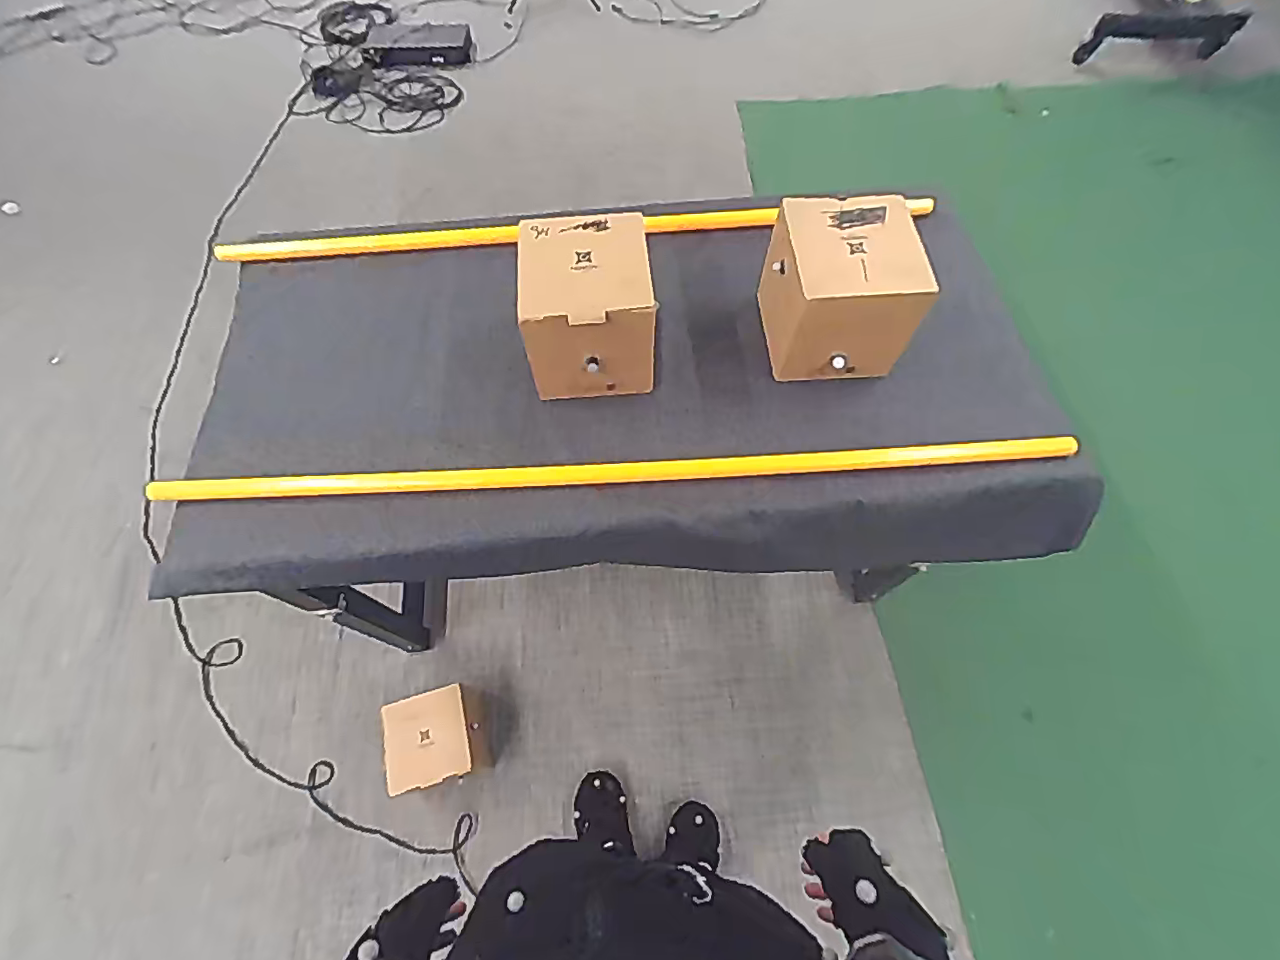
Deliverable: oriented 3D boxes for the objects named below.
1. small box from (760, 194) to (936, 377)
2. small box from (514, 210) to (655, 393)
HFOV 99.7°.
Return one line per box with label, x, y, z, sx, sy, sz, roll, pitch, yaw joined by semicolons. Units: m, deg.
small box;0.273;-0.267;0.758;0.168;0.176;0.179;-4;64;-1
small box;-0.072;-0.236;0.752;0.168;0.176;0.179;-8;63;-2
